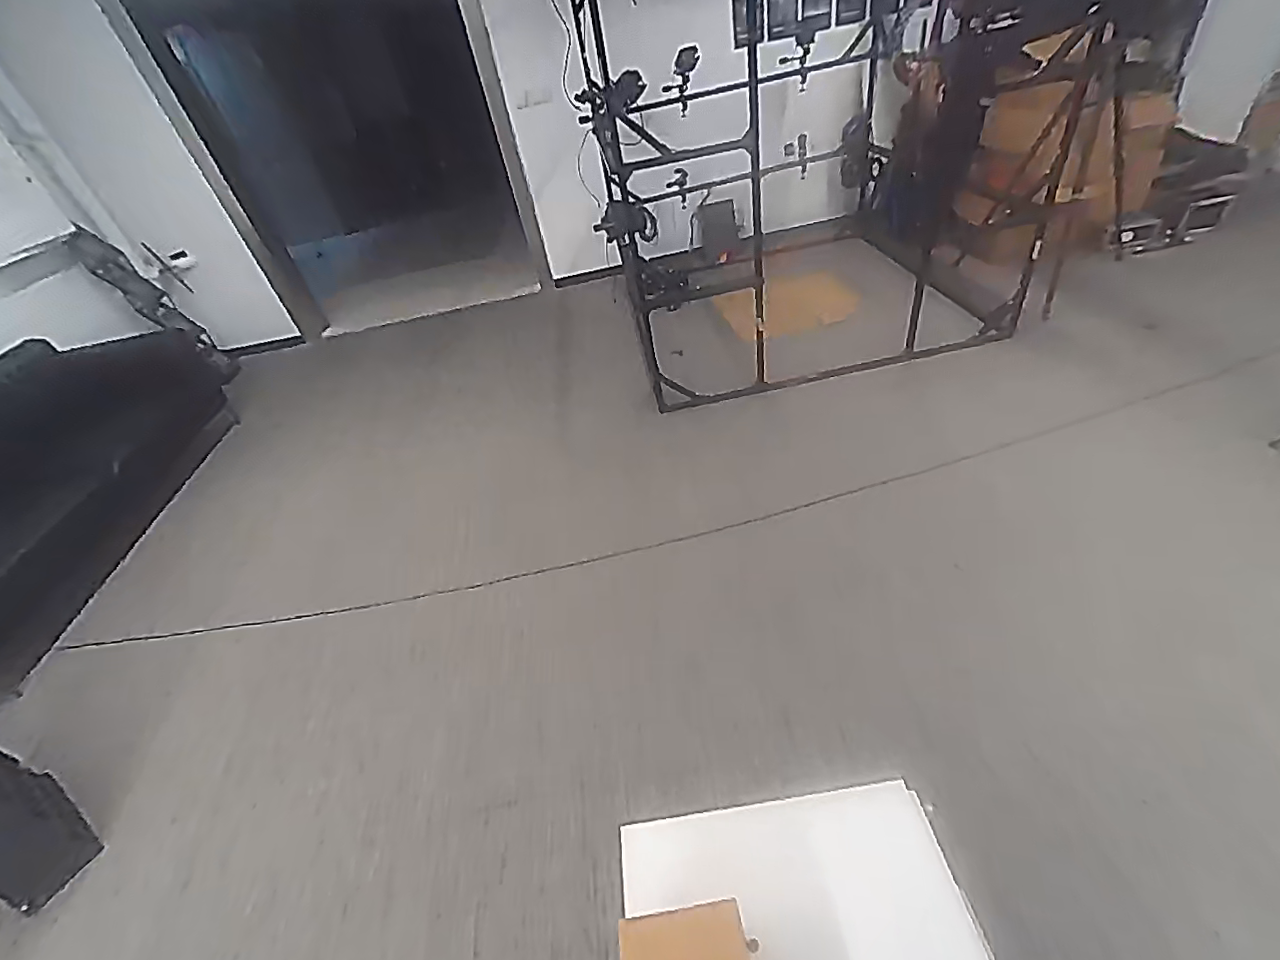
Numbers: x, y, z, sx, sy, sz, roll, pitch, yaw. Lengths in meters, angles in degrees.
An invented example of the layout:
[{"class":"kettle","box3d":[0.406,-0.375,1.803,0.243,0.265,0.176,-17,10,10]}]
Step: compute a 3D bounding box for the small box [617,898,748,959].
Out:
[{"class":"small box","box3d":[0.069,0.692,0.713,0.168,0.176,0.179,-12,39,2]}]
